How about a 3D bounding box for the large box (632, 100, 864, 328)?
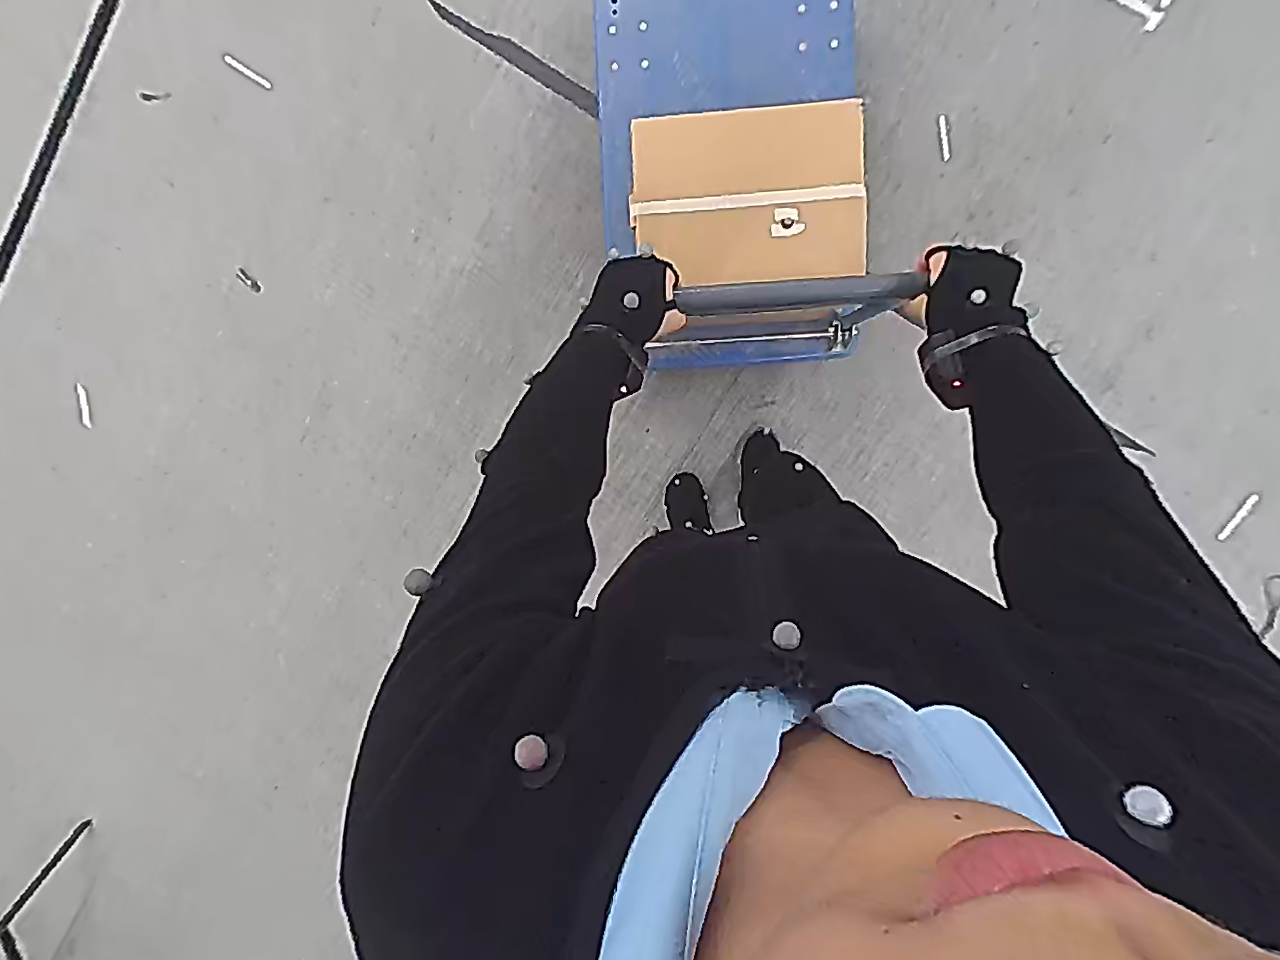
[{"bbox_3d":[0.200,-0.511,1.112,0.408,0.320,0.320,-3,95,3],"label":"large box"}]
